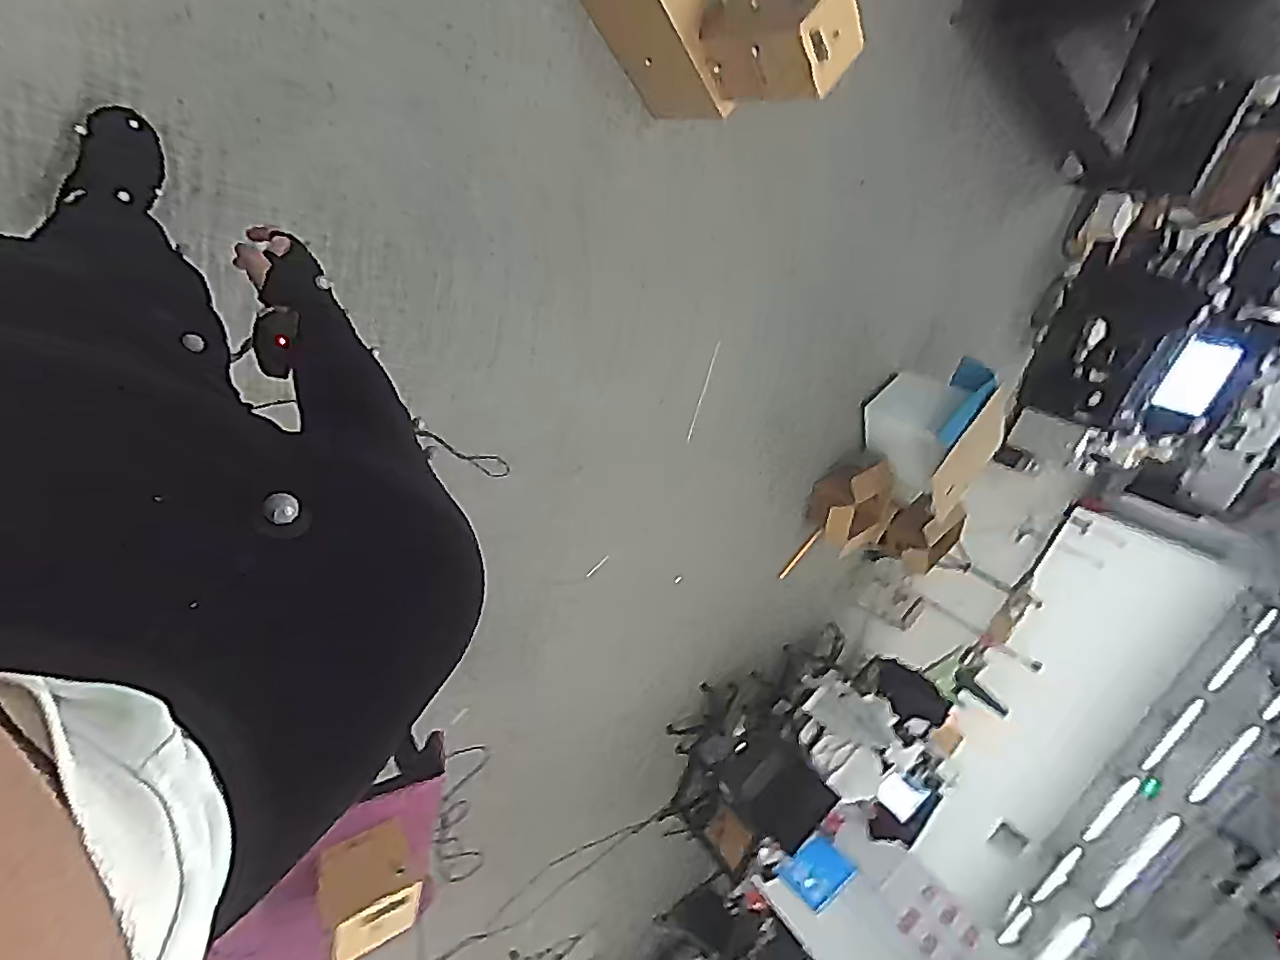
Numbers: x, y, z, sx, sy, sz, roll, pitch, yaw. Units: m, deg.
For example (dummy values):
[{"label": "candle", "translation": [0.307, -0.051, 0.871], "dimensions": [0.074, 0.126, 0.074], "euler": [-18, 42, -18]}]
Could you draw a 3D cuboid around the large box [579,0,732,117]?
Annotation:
[{"label": "large box", "translation": [0.108, -1.271, 1.455], "dimensions": [0.408, 0.320, 0.320], "euler": [31, 93, -48]}]

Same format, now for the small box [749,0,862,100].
[{"label": "small box", "translation": [0.375, -1.018, 1.253], "dimensions": [0.179, 0.176, 0.168], "euler": [-51, 138, -2]}]

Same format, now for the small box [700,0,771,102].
[{"label": "small box", "translation": [0.283, -1.097, 1.363], "dimensions": [0.179, 0.176, 0.168], "euler": [-50, 138, -1]}]
